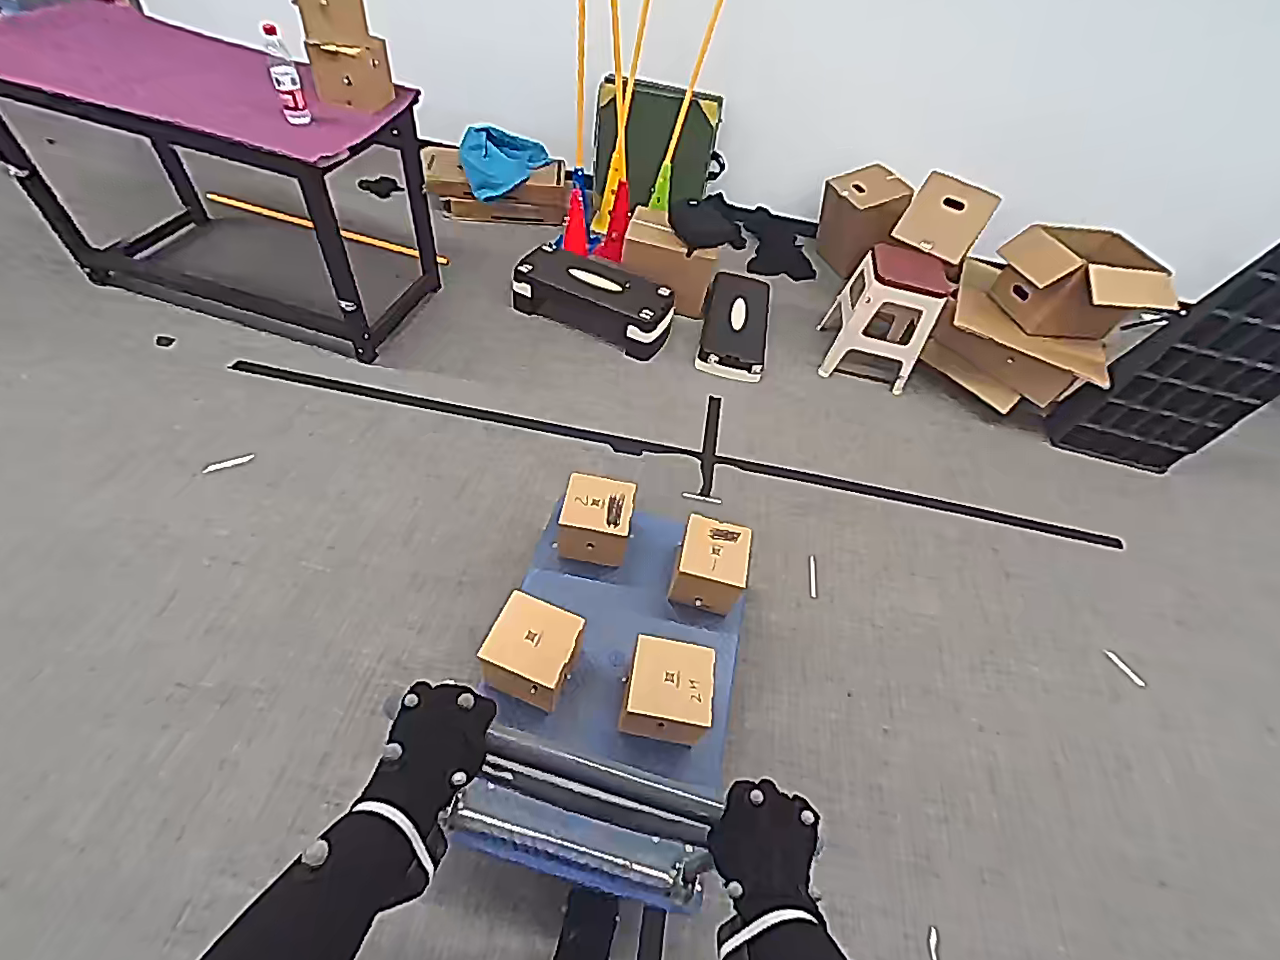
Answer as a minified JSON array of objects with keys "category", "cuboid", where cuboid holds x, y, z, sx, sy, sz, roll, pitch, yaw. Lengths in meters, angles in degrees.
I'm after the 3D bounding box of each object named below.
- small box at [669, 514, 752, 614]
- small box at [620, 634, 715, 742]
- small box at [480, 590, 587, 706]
[{"category":"small box","cuboid":[0.181,0.222,1.411,0.168,0.176,0.179,15,53,2]},{"category":"small box","cuboid":[0.058,0.466,1.199,0.179,0.176,0.168,12,52,-1]},{"category":"small box","cuboid":[-0.237,0.380,1.211,0.179,0.176,0.168,22,51,5]}]
